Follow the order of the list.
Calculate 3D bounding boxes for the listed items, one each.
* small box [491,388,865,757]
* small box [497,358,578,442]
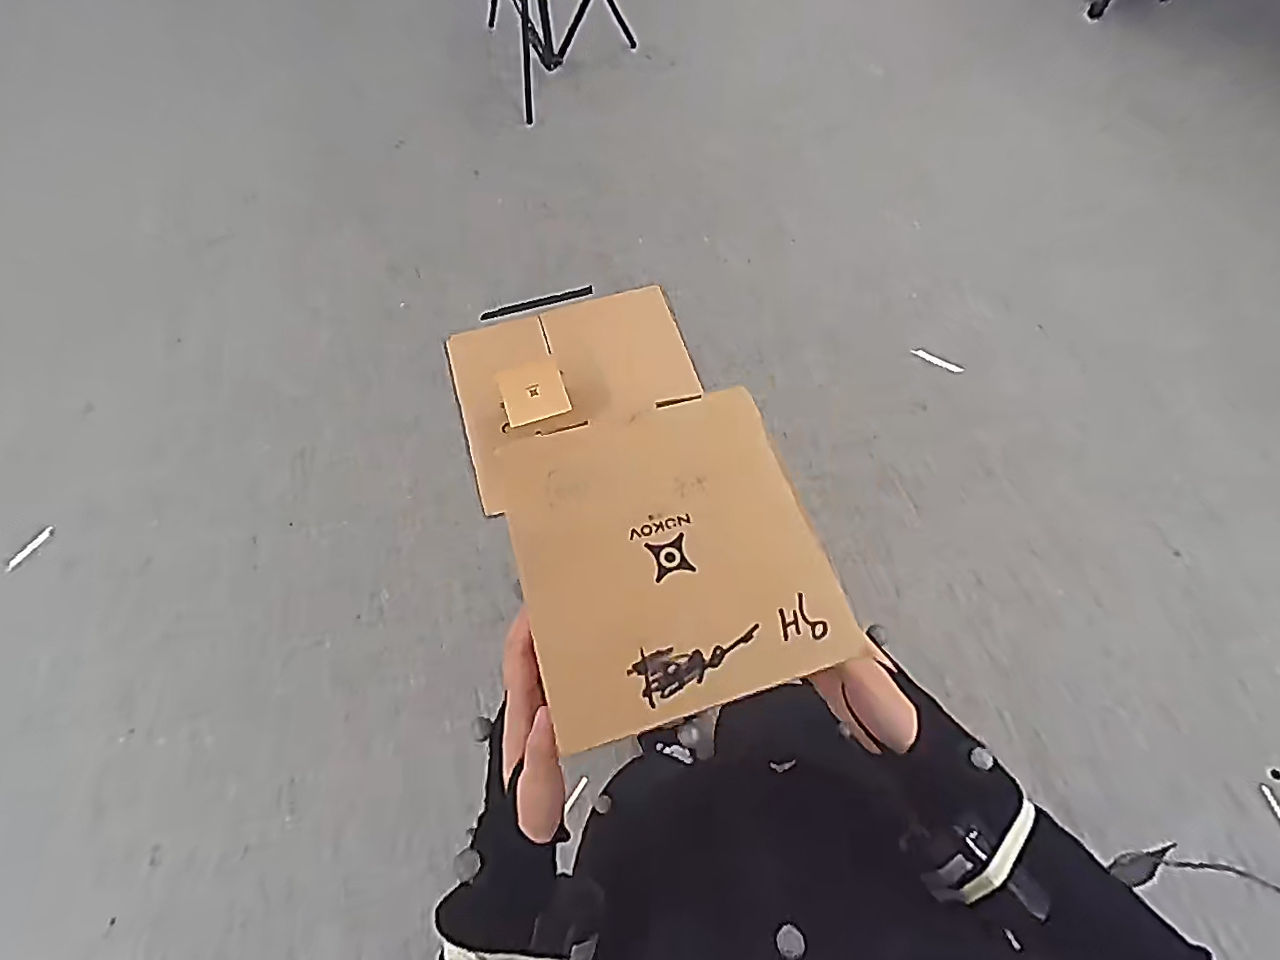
[{"bbox_3d":[0.012,0.070,0.369,0.168,0.176,0.179,-16,66,-7],"label":"small box"},{"bbox_3d":[-0.275,-0.201,1.492,0.168,0.176,0.179,-18,71,-7],"label":"small box"}]
